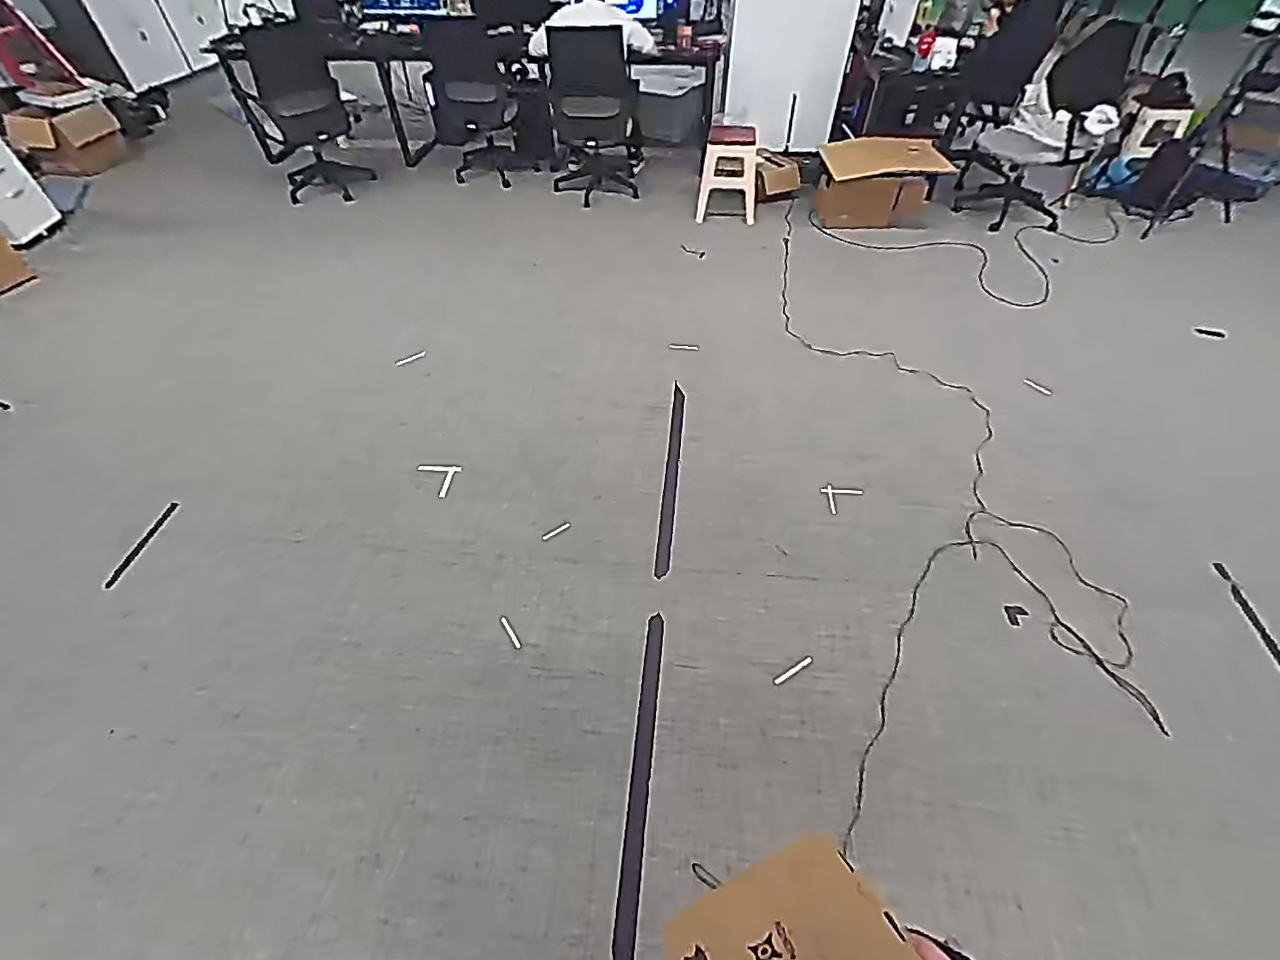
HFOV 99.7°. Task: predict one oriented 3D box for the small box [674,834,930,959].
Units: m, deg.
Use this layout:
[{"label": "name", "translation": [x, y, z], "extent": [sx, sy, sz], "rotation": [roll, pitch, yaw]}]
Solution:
[{"label": "small box", "translation": [0.151, 0.449, 0.437], "extent": [0.179, 0.168, 0.176], "rotation": [-25, 90, -8]}]
